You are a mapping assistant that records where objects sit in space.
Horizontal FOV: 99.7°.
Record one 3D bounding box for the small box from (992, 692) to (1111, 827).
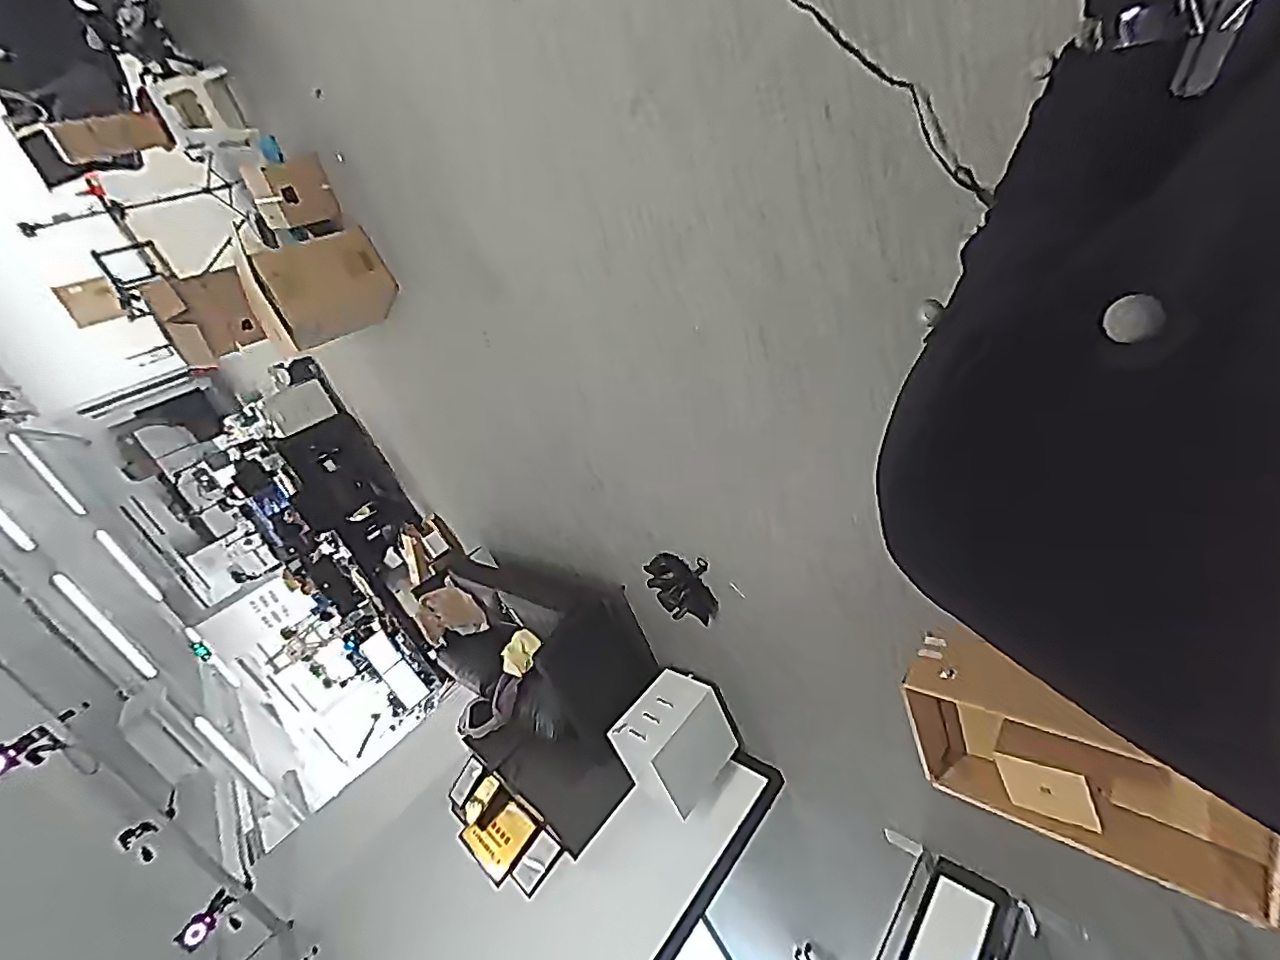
[{"bbox_3d":[0.916,0.609,1.199,0.168,0.176,0.179,-6,117,51],"label":"small box"}]
